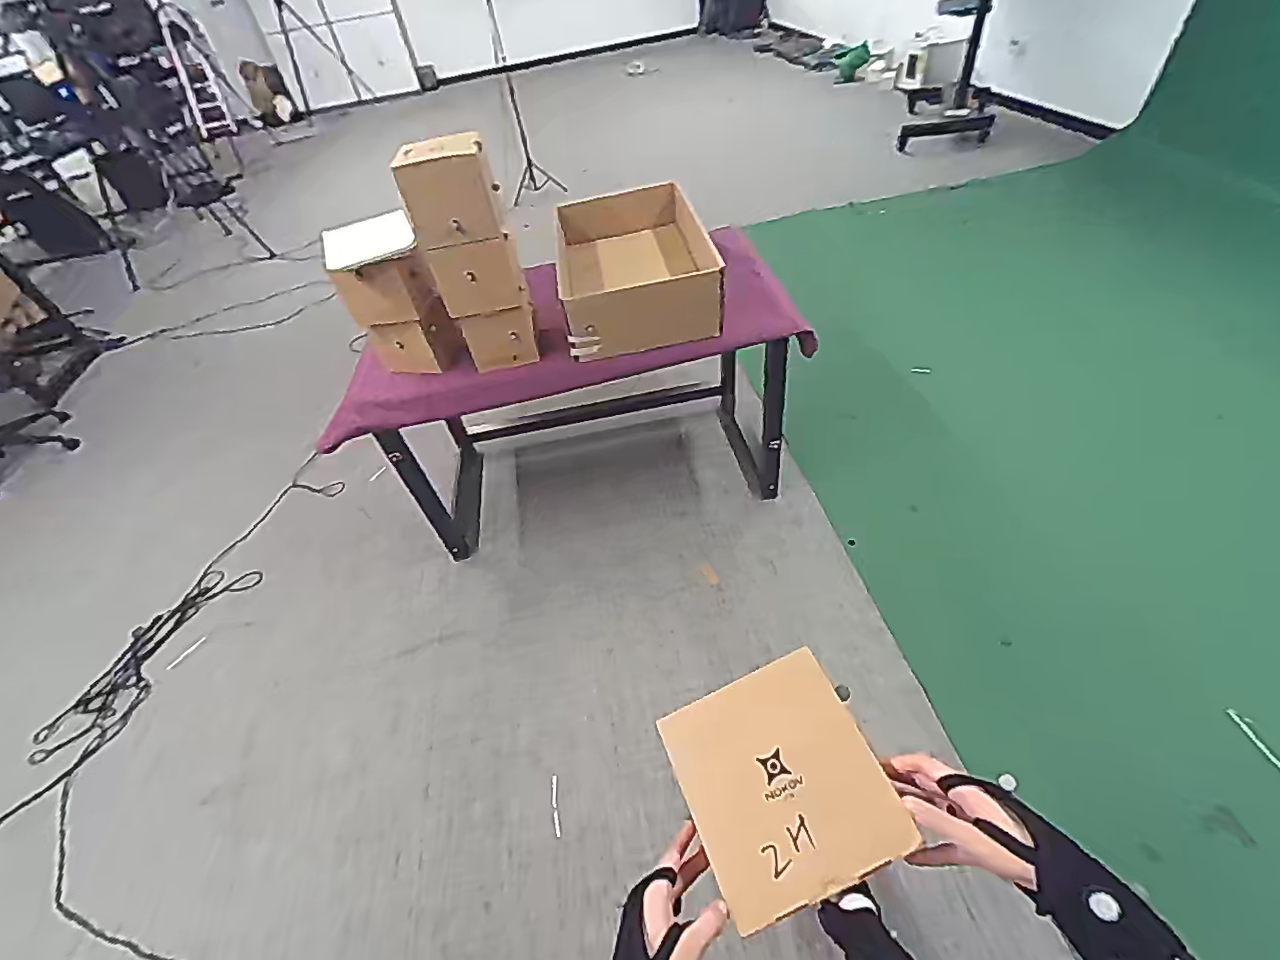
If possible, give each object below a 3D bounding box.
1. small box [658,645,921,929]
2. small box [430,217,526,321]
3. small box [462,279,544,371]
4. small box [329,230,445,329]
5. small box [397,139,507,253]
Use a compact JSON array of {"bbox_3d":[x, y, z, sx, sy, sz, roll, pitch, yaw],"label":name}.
[{"bbox_3d":[0.138,0.297,0.536,0.168,0.176,0.179,-27,55,0],"label":"small box"},{"bbox_3d":[-0.379,-0.506,1.302,0.179,0.176,0.168,-11,44,-1],"label":"small box"},{"bbox_3d":[-0.352,-0.402,1.426,0.168,0.176,0.179,-10,45,0],"label":"small box"},{"bbox_3d":[-0.609,-0.491,1.332,0.179,0.176,0.168,-3,47,9],"label":"small box"},{"bbox_3d":[-0.399,-0.620,1.185,0.179,0.176,0.168,-10,44,-1],"label":"small box"}]
